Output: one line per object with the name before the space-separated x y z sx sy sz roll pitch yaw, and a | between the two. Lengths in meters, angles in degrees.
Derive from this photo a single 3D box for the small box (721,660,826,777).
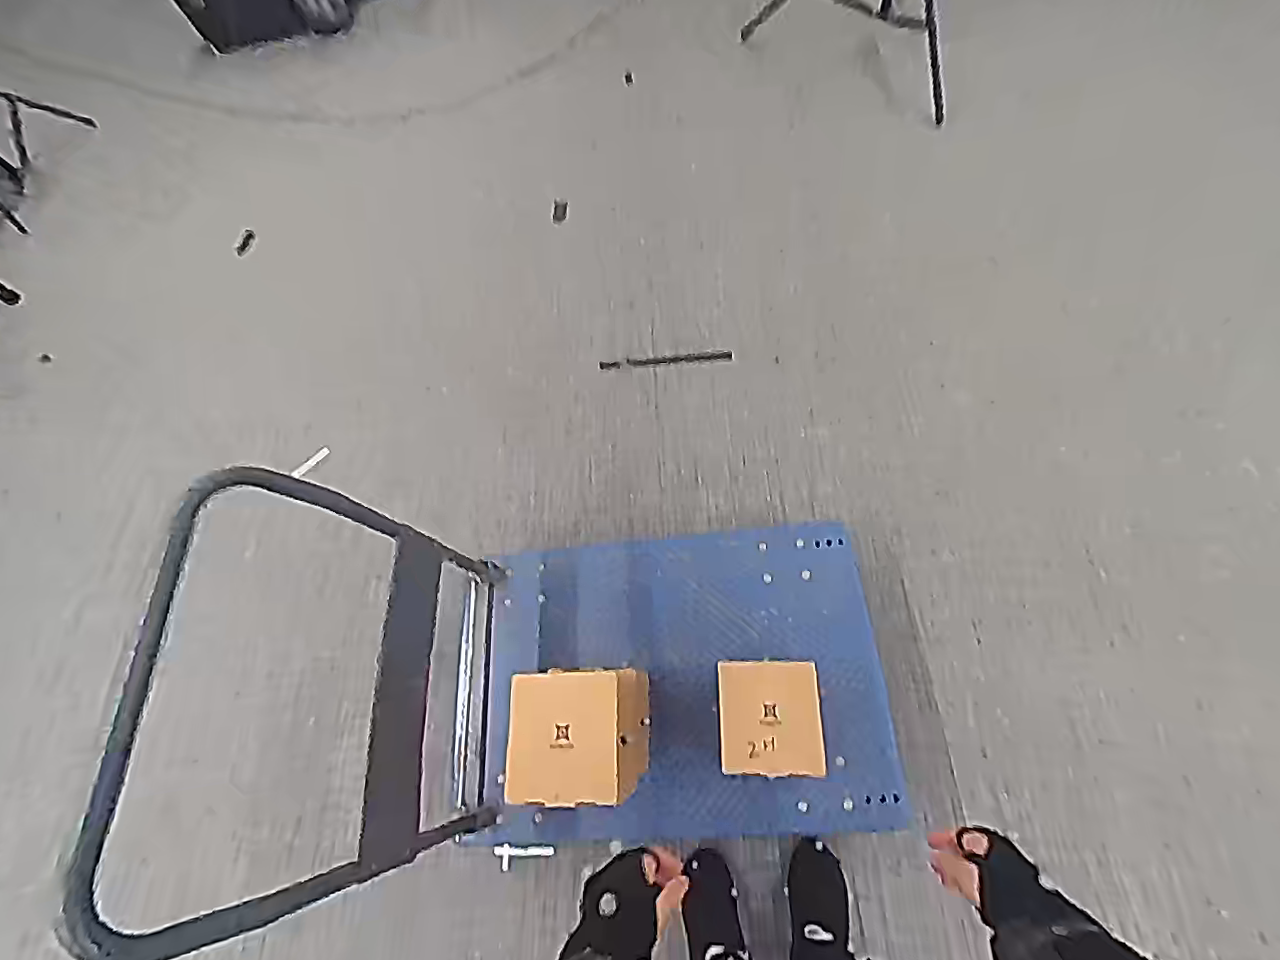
small box | 0.229 0.424 0.970 0.168 0.176 0.179 -2 67 9

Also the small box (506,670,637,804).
small box | -0.098 0.400 0.856 0.168 0.176 0.179 -4 67 7
